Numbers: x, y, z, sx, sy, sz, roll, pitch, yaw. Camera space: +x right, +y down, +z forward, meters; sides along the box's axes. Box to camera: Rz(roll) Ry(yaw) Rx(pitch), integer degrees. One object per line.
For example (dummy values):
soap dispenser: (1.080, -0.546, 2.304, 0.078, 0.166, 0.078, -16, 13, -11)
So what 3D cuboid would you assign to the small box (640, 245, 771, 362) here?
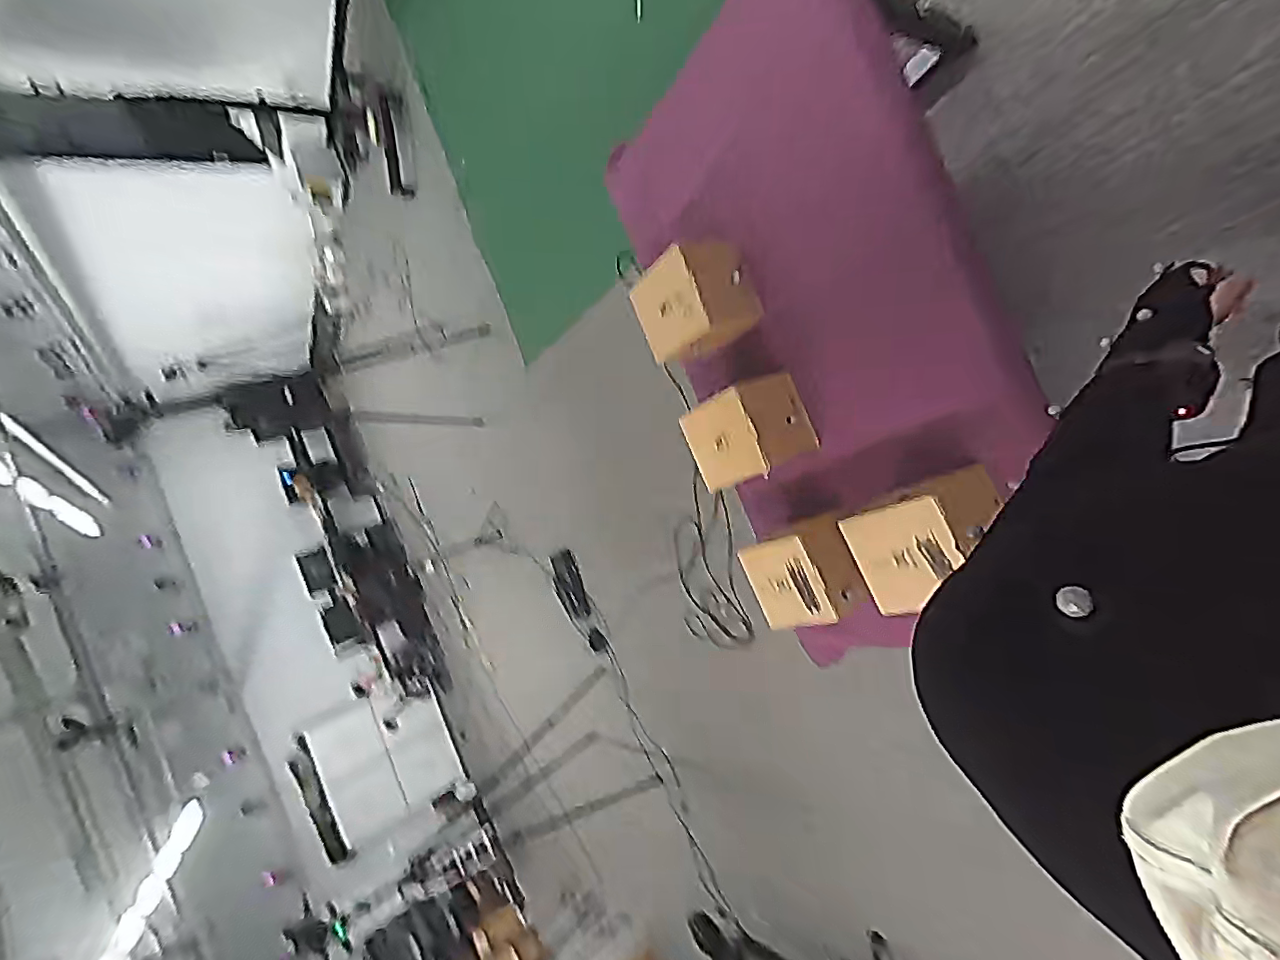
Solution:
small box: (0.135, -0.365, 1.120, 0.179, 0.176, 0.168, -25, 87, 55)

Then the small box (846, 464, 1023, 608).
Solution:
small box: (0.481, 0.090, 0.877, 0.179, 0.176, 0.168, -33, 80, 57)

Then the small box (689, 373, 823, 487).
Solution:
small box: (0.239, -0.102, 1.115, 0.179, 0.176, 0.168, -27, 84, 54)
